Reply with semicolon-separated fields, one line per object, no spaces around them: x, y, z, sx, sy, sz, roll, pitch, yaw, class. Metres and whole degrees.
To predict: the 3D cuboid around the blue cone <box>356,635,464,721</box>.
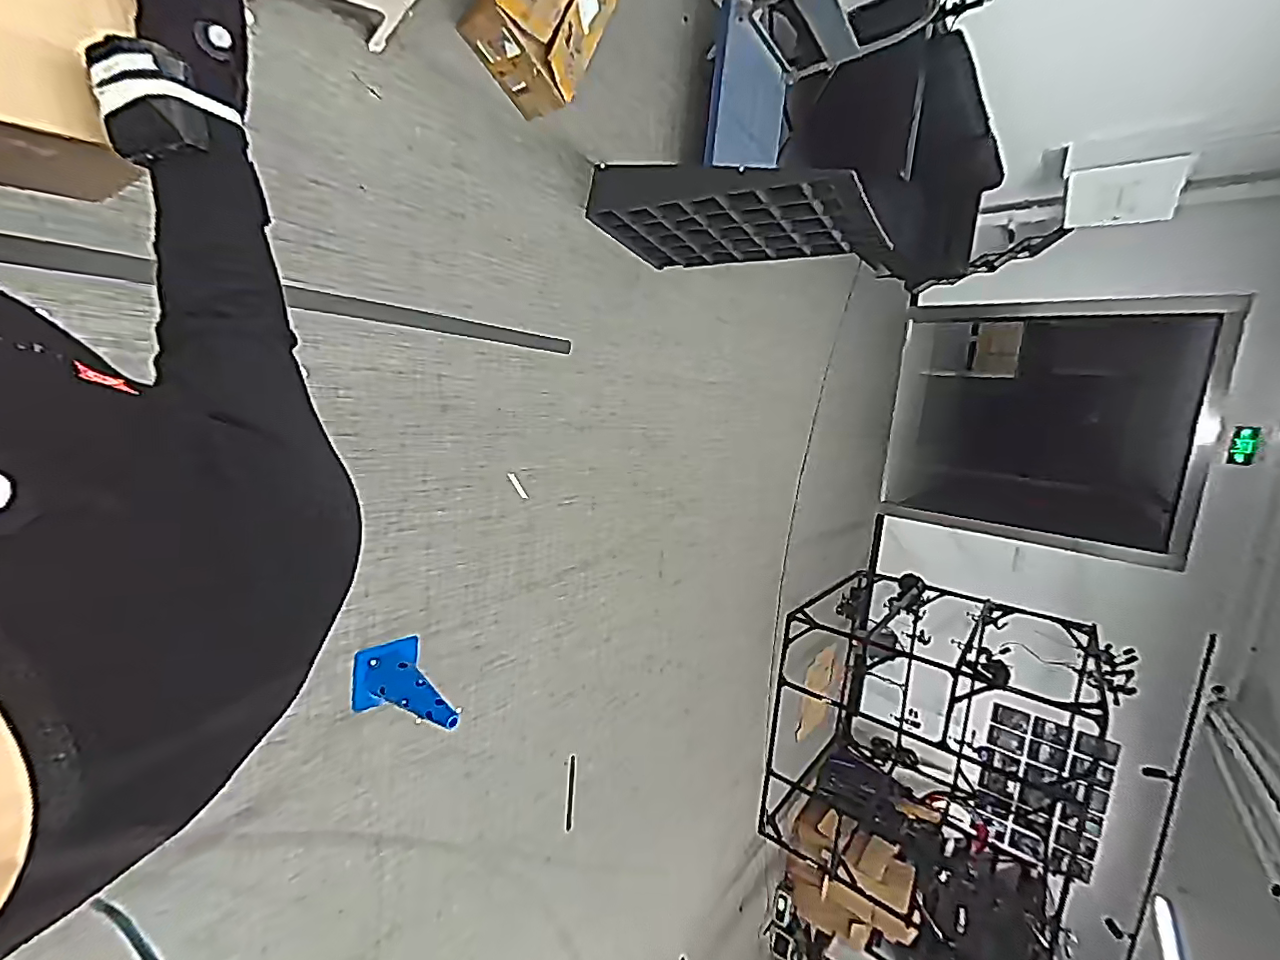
-0.650;0.613;1.577;0.192;0.380;0.193;0;100;-54;blue cone

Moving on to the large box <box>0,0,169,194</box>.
-0.599;-0.401;0.321;0.408;0.320;0.320;-14;113;-51;large box
